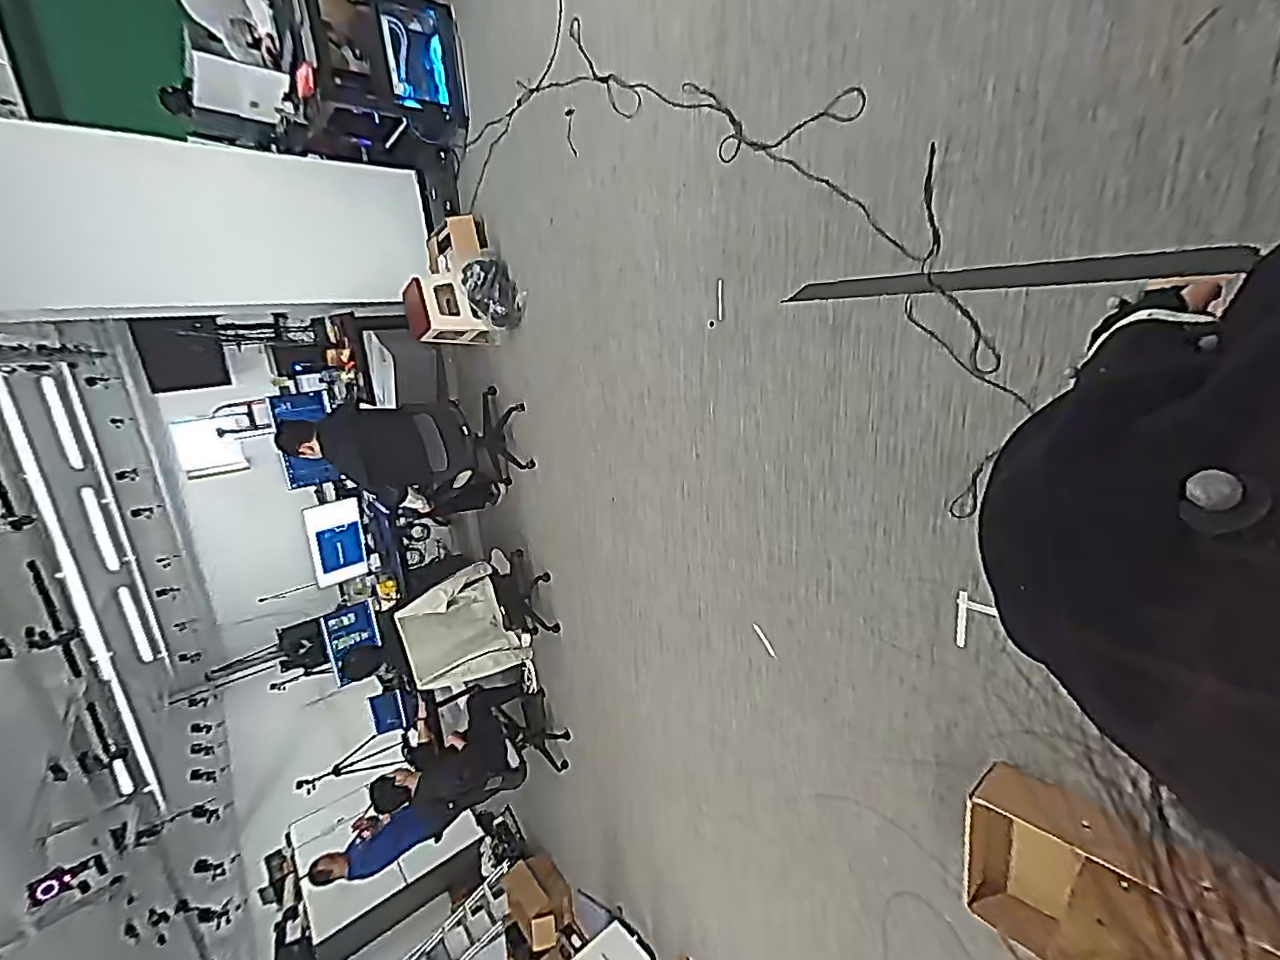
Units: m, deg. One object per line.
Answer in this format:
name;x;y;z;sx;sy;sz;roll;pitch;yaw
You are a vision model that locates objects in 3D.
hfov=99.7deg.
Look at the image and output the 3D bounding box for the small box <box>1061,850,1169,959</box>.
small box;1.128;1.044;1.283;0.168;0.176;0.179;7;109;50
